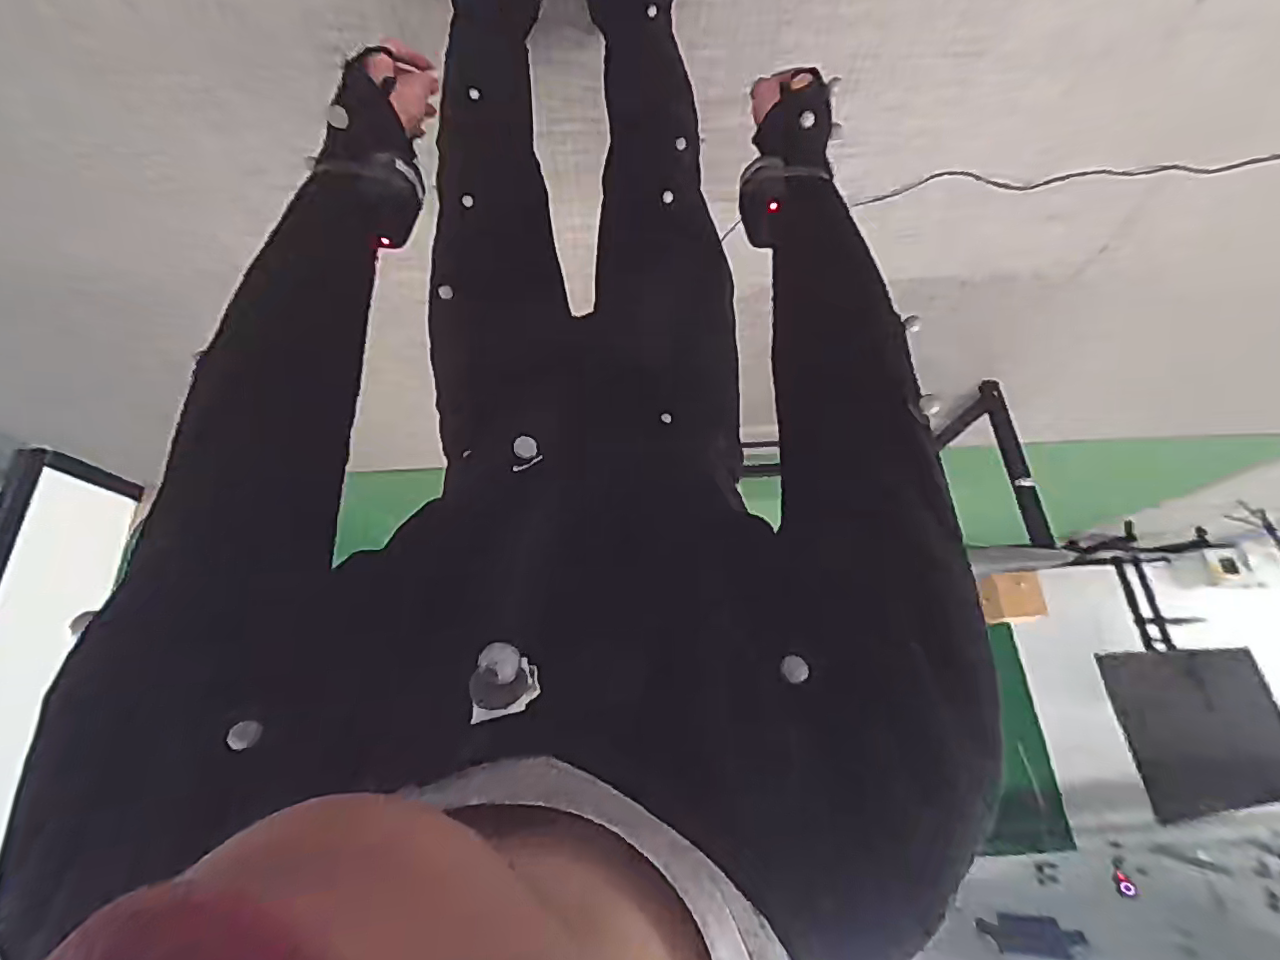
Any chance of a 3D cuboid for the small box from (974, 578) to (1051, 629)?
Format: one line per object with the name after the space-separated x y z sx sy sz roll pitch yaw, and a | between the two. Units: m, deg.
1.401 0.469 2.051 0.168 0.176 0.179 -3 158 0 | small box
